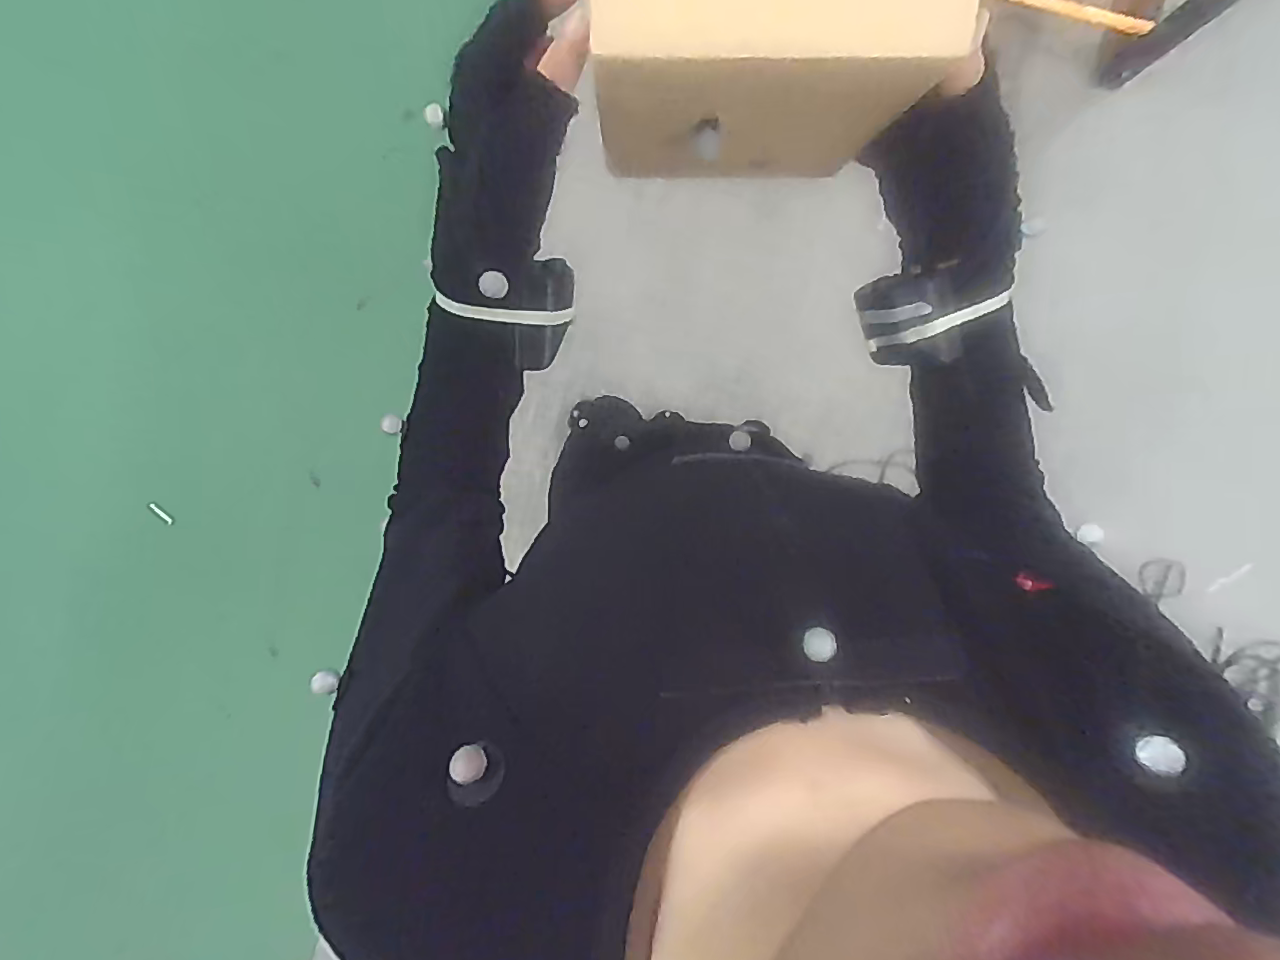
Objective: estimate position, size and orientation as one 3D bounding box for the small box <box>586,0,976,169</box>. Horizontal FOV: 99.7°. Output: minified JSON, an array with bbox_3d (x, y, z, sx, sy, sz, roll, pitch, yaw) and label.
[{"bbox_3d":[0.061,-0.285,0.288,0.168,0.176,0.179,0,102,0],"label":"small box"}]
